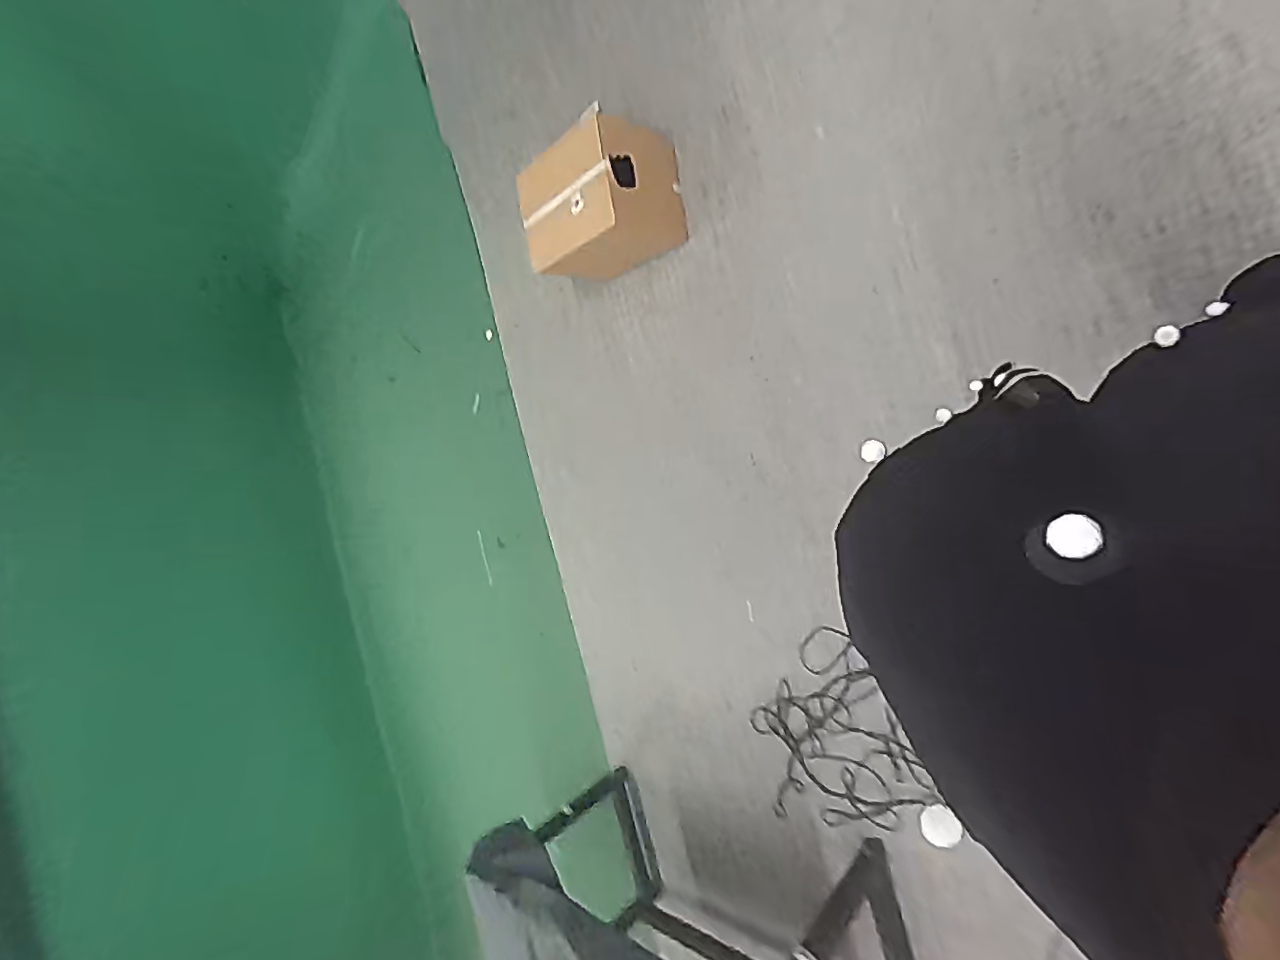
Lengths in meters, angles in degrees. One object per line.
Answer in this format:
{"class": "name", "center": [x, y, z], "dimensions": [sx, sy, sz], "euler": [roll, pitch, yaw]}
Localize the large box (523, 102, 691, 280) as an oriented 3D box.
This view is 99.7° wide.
{"class": "large box", "center": [-0.106, -0.857, 1.680], "dimensions": [0.408, 0.320, 0.320], "euler": [-7, 95, 45]}
